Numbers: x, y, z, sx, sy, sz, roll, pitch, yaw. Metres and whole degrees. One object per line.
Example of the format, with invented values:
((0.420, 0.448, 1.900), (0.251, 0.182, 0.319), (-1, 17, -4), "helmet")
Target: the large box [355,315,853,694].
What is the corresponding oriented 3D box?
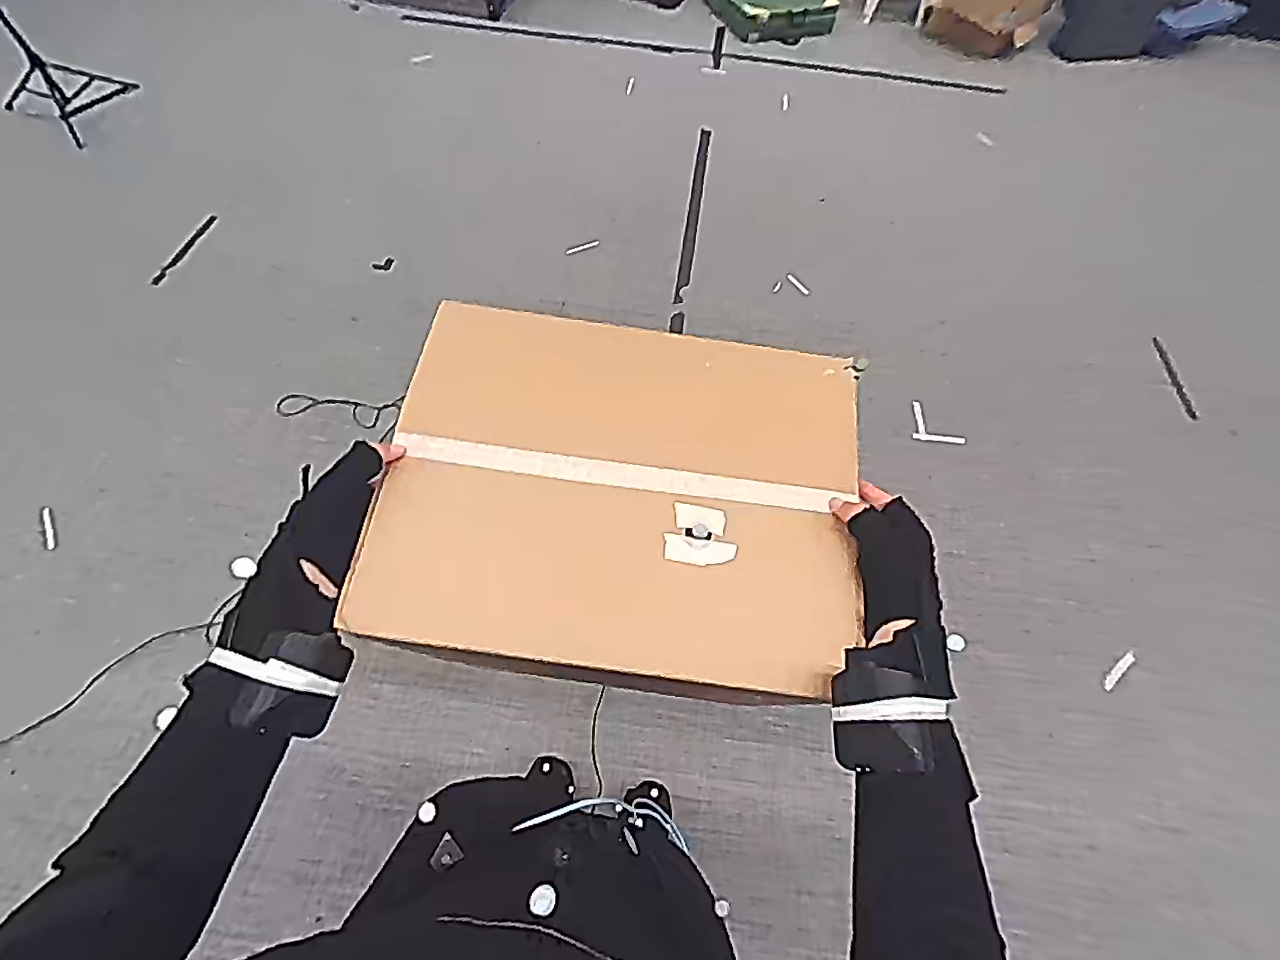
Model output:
((-0.023, 0.056, 0.617), (0.408, 0.320, 0.320), (8, 68, -1), "large box")
